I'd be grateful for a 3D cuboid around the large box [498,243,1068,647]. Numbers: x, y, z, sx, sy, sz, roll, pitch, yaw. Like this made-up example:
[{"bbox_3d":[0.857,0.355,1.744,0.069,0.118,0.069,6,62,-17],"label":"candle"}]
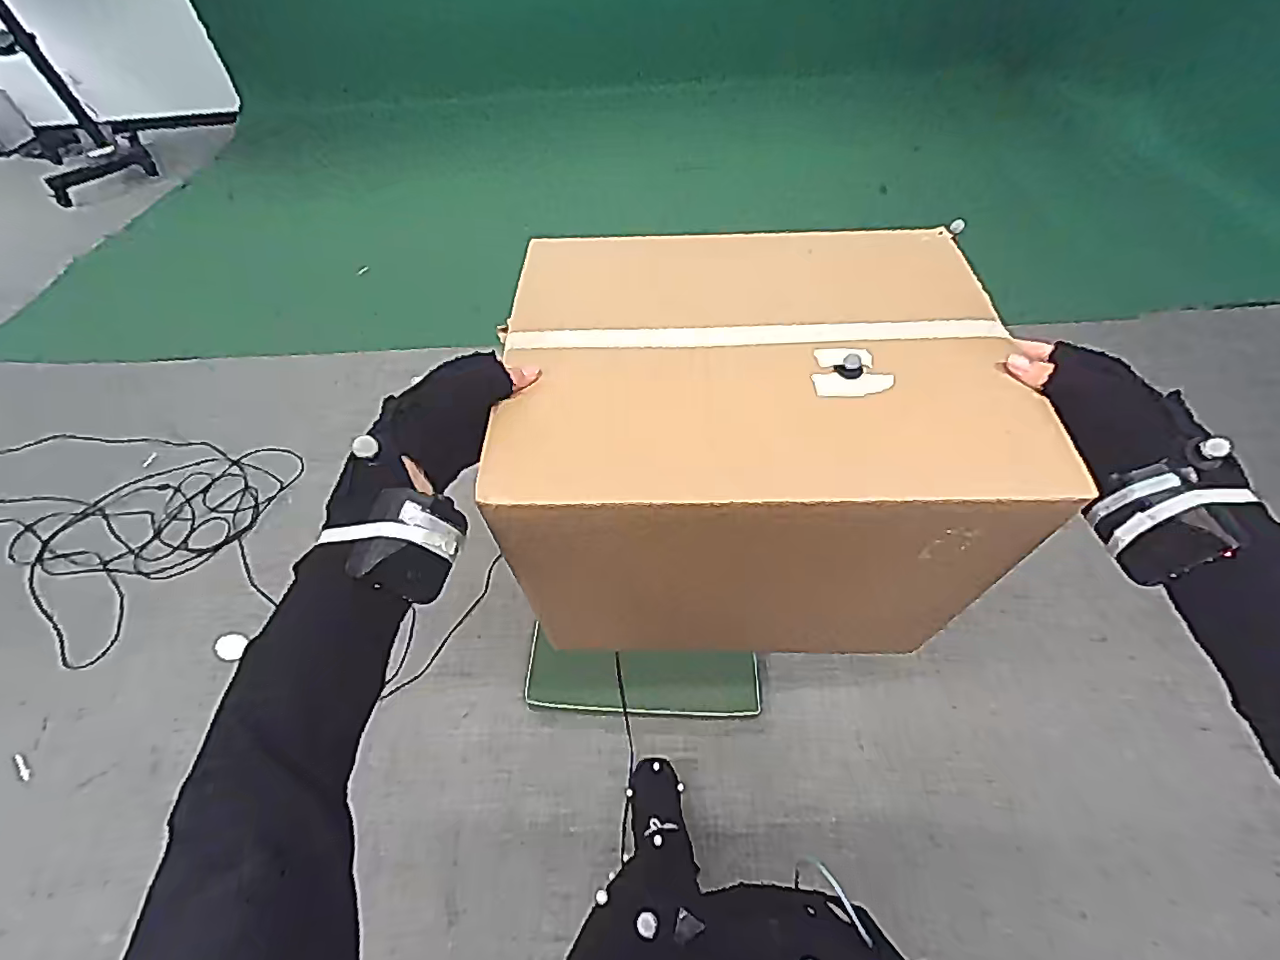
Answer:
[{"bbox_3d":[0.098,-0.025,0.577,0.408,0.320,0.320,0,55,1],"label":"large box"}]
